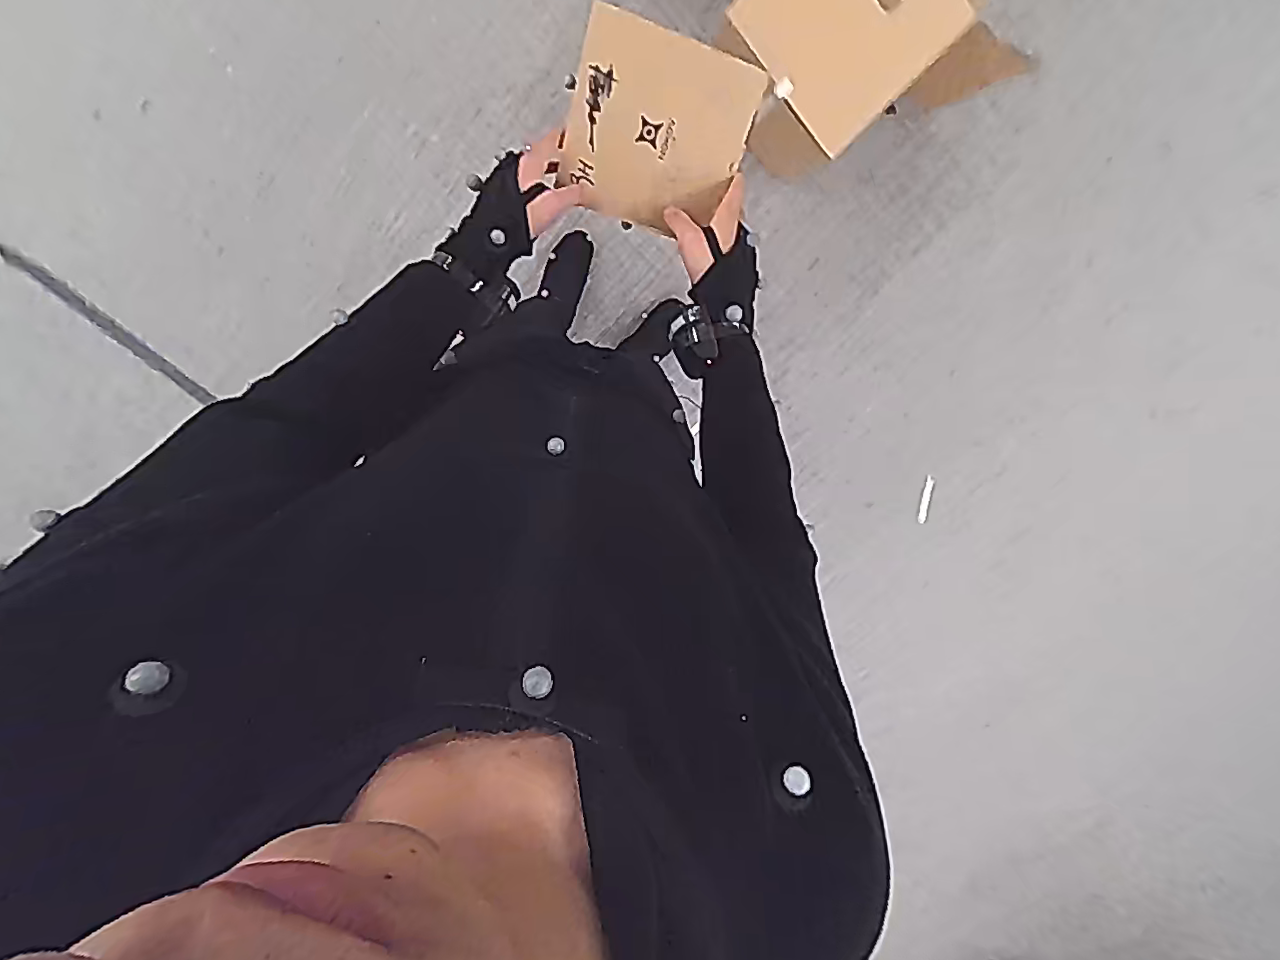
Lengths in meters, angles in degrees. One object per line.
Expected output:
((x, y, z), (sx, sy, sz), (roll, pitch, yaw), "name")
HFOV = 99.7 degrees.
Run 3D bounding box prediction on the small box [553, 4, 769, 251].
((0.013, -0.376, 0.598), (0.179, 0.176, 0.168), (14, 119, -11), "small box")
